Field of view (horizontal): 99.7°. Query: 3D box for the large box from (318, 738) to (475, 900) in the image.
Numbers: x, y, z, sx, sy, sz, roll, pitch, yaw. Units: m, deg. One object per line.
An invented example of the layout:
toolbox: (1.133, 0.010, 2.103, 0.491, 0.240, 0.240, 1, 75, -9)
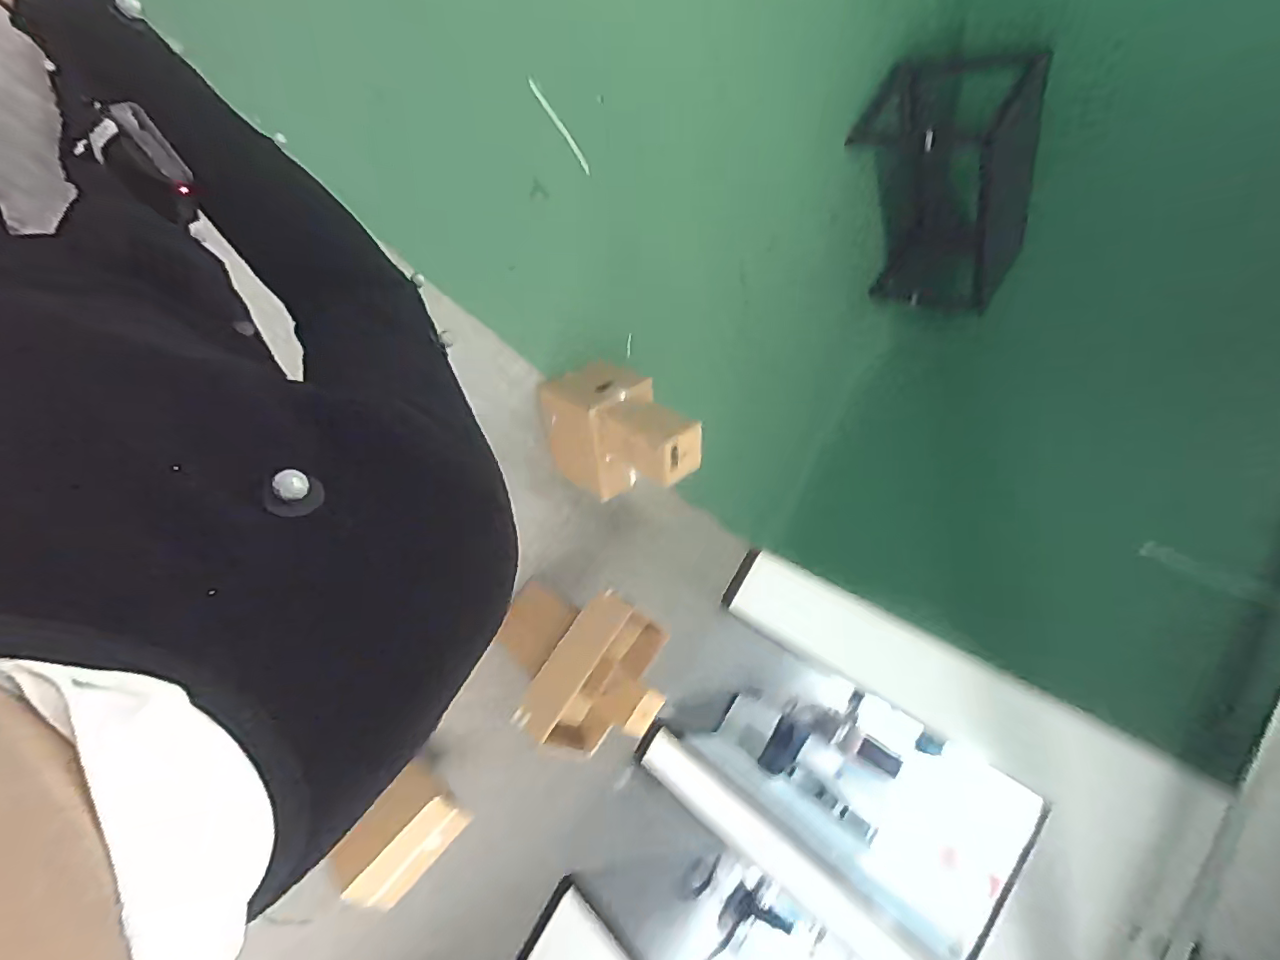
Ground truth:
large box: (-0.947, 1.324, 2.124, 0.408, 0.320, 0.320, -45, 140, -24)

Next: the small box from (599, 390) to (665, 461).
small box: (-0.031, -0.195, 1.891, 0.179, 0.176, 0.168, -32, 134, -35)

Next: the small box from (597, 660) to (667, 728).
small box: (-0.030, 0.813, 2.059, 0.168, 0.176, 0.179, -55, 141, -12)
